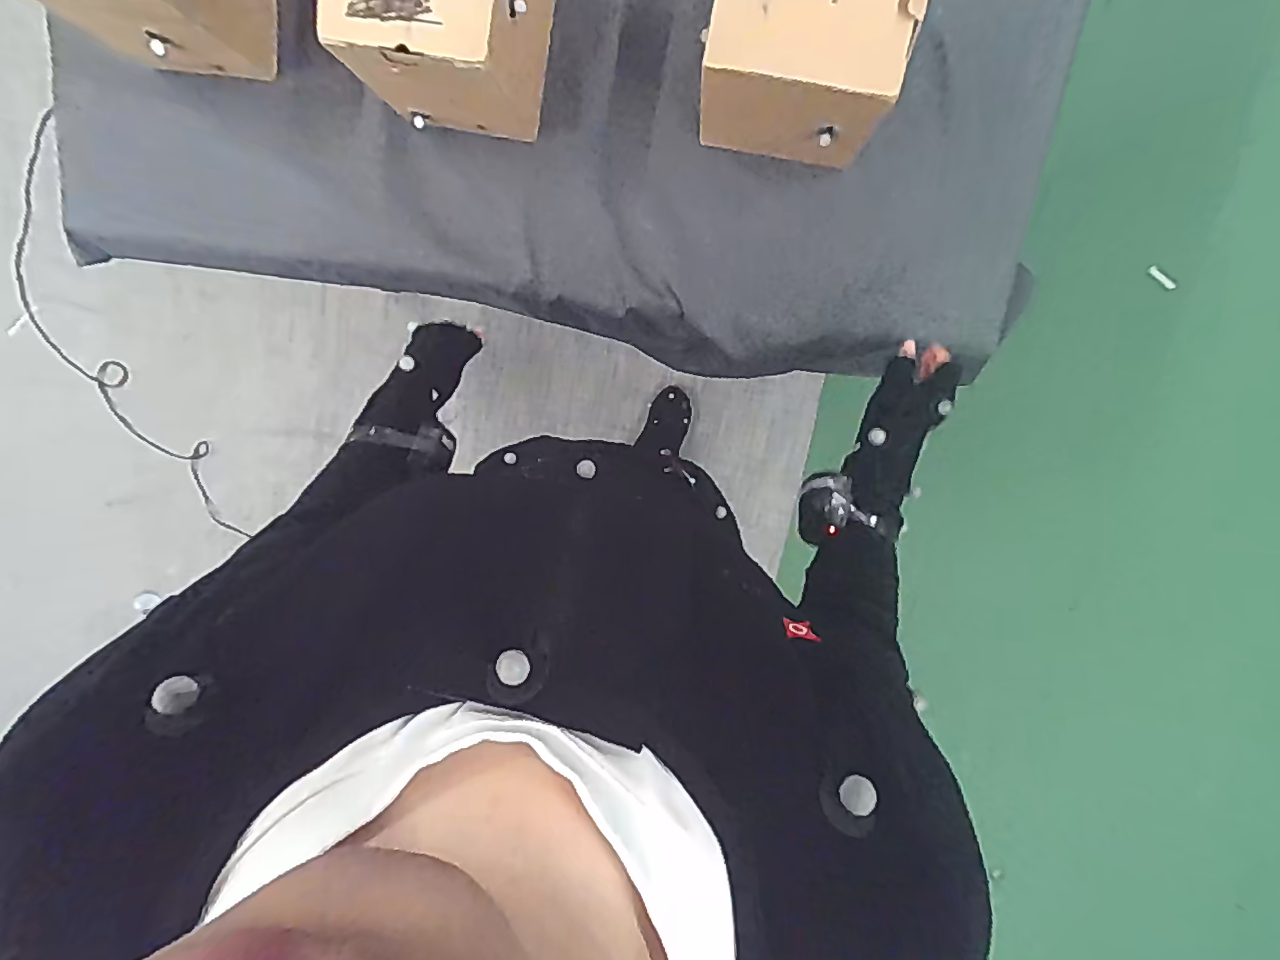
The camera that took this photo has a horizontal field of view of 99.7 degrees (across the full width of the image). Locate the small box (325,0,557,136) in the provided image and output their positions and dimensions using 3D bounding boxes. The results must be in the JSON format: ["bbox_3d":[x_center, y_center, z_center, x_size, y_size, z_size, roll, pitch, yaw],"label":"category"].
[{"bbox_3d":[-0.193,-0.494,0.564,0.168,0.176,0.179,12,101,4],"label":"small box"}]

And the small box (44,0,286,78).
[{"bbox_3d":[-0.514,-0.573,0.582,0.168,0.176,0.179,8,102,4],"label":"small box"}]

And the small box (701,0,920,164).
[{"bbox_3d":[0.163,-0.442,0.540,0.179,0.176,0.168,12,101,5],"label":"small box"}]
